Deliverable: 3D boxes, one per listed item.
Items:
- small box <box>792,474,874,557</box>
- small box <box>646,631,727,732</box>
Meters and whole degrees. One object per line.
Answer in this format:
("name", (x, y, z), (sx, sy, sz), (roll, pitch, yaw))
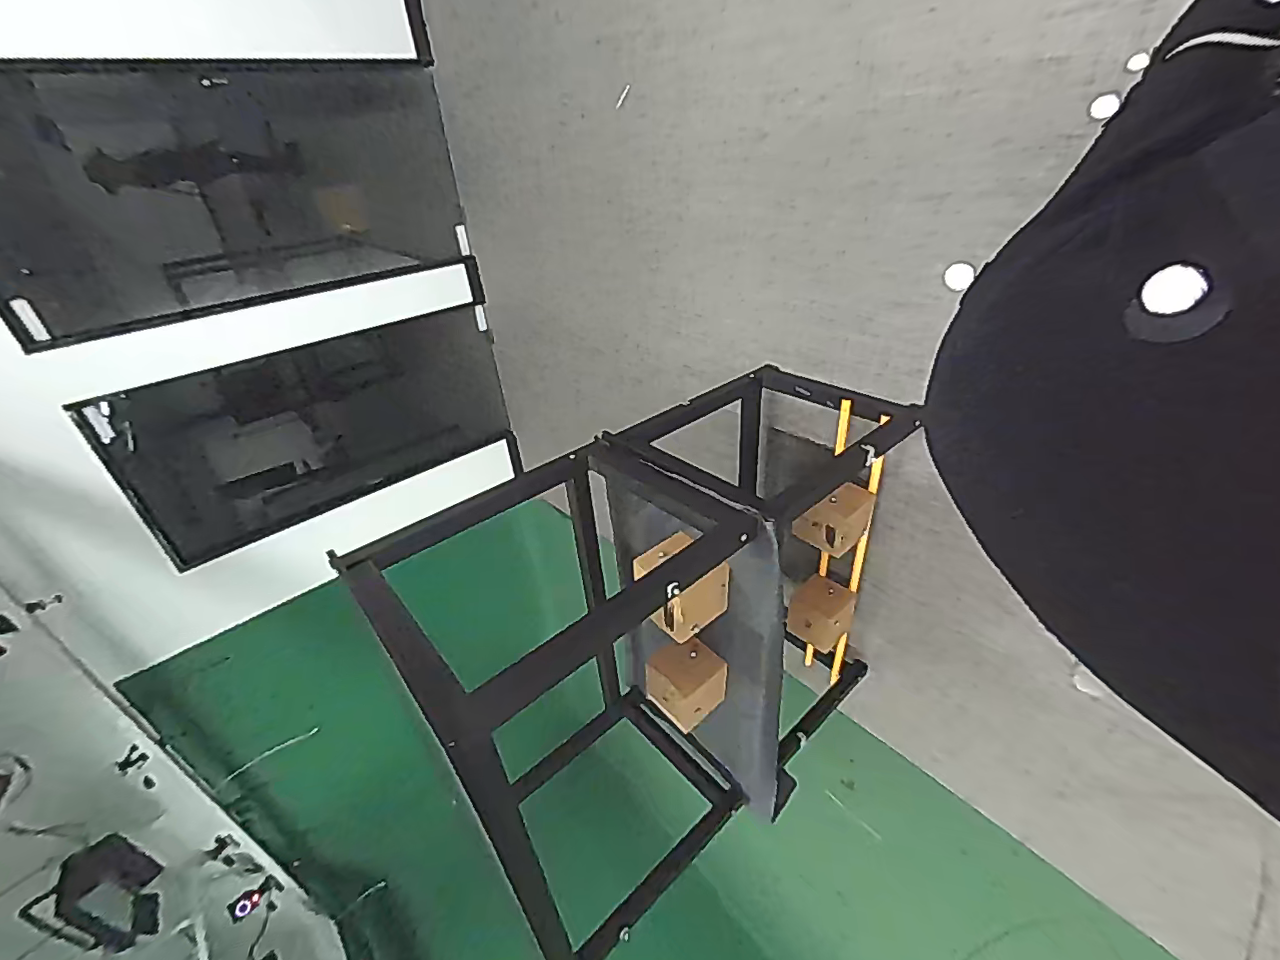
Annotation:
("small box", (0.611, 0.104, 1.709), (0.179, 0.176, 0.168), (32, 137, 38))
("small box", (0.135, 0.579, 1.567), (0.168, 0.176, 0.179), (32, 137, 39))
